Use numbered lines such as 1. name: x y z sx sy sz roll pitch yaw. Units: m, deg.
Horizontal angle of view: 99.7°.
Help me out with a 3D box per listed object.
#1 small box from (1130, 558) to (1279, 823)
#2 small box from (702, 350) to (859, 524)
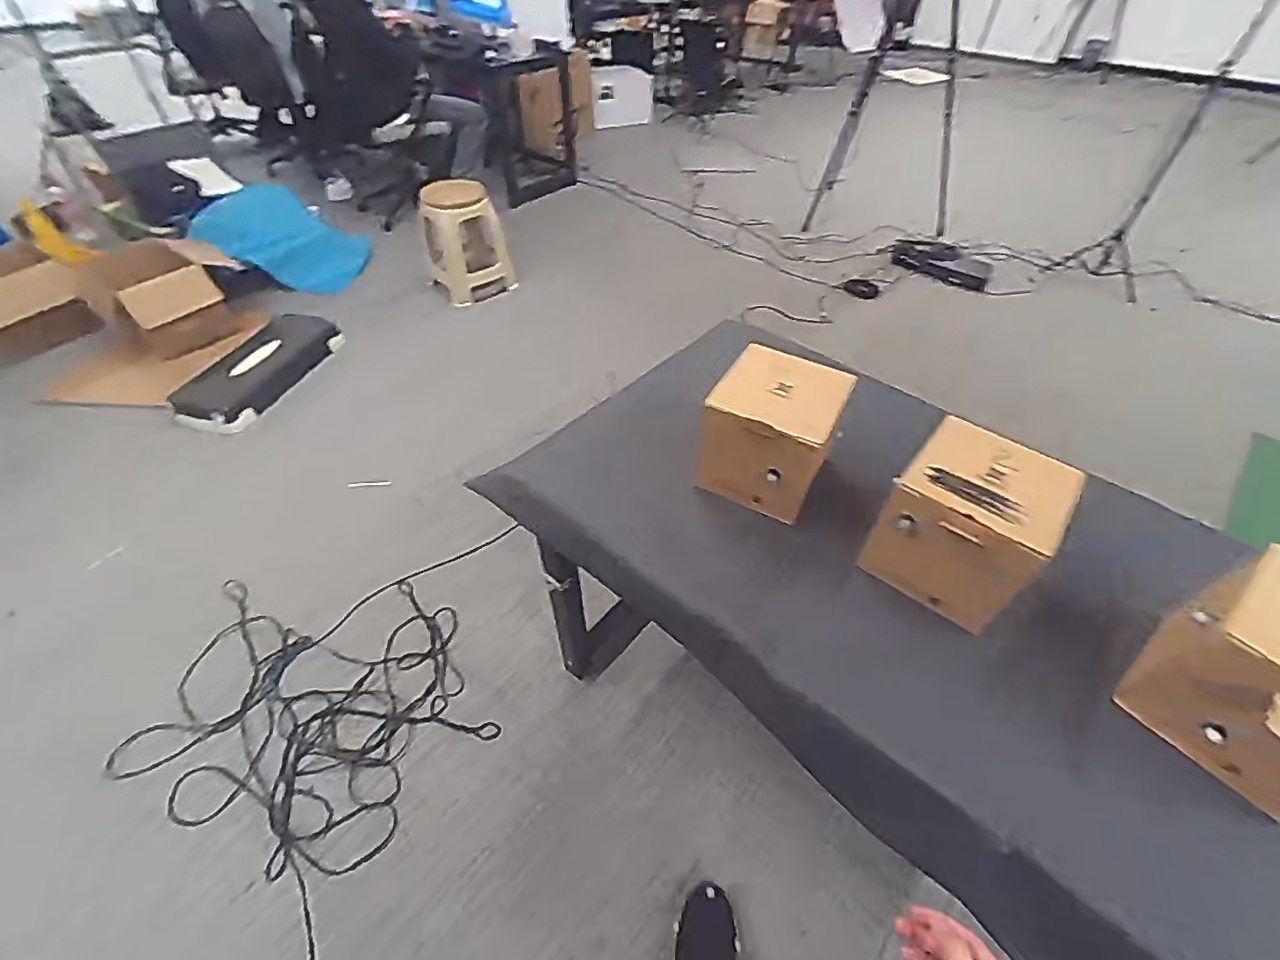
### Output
1. small box: 0.673 0.215 0.560 0.179 0.176 0.168 -29 54 -25
2. small box: 0.204 -0.064 0.818 0.168 0.176 0.179 24 49 19
